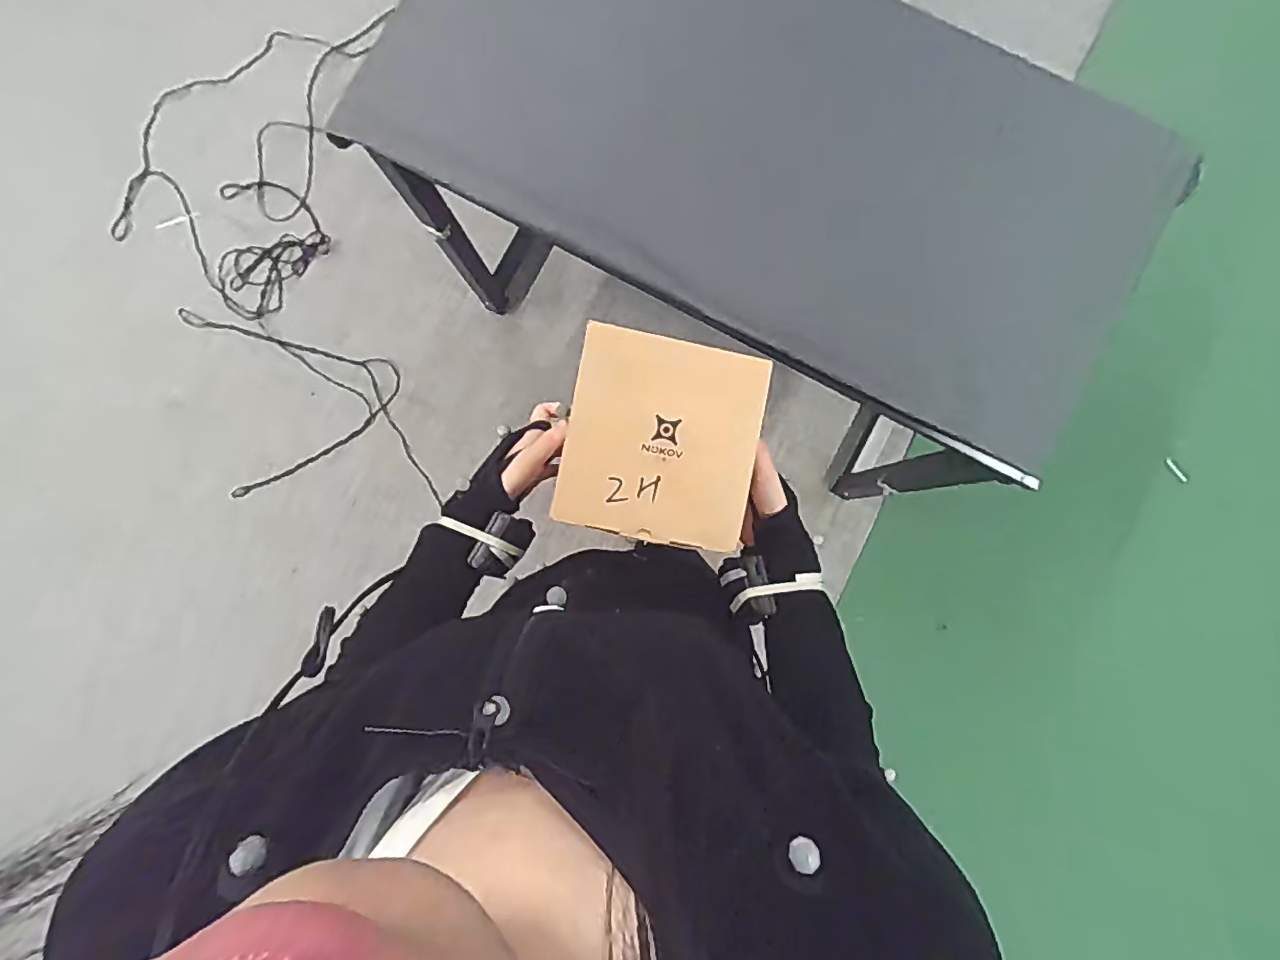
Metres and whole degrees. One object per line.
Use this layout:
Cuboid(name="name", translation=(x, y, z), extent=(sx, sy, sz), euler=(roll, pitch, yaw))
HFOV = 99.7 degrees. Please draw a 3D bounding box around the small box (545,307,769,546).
Cuboid(name="small box", translation=(0.009, -0.044, 0.534), extent=(0.168, 0.176, 0.179), euler=(11, 89, -5))
